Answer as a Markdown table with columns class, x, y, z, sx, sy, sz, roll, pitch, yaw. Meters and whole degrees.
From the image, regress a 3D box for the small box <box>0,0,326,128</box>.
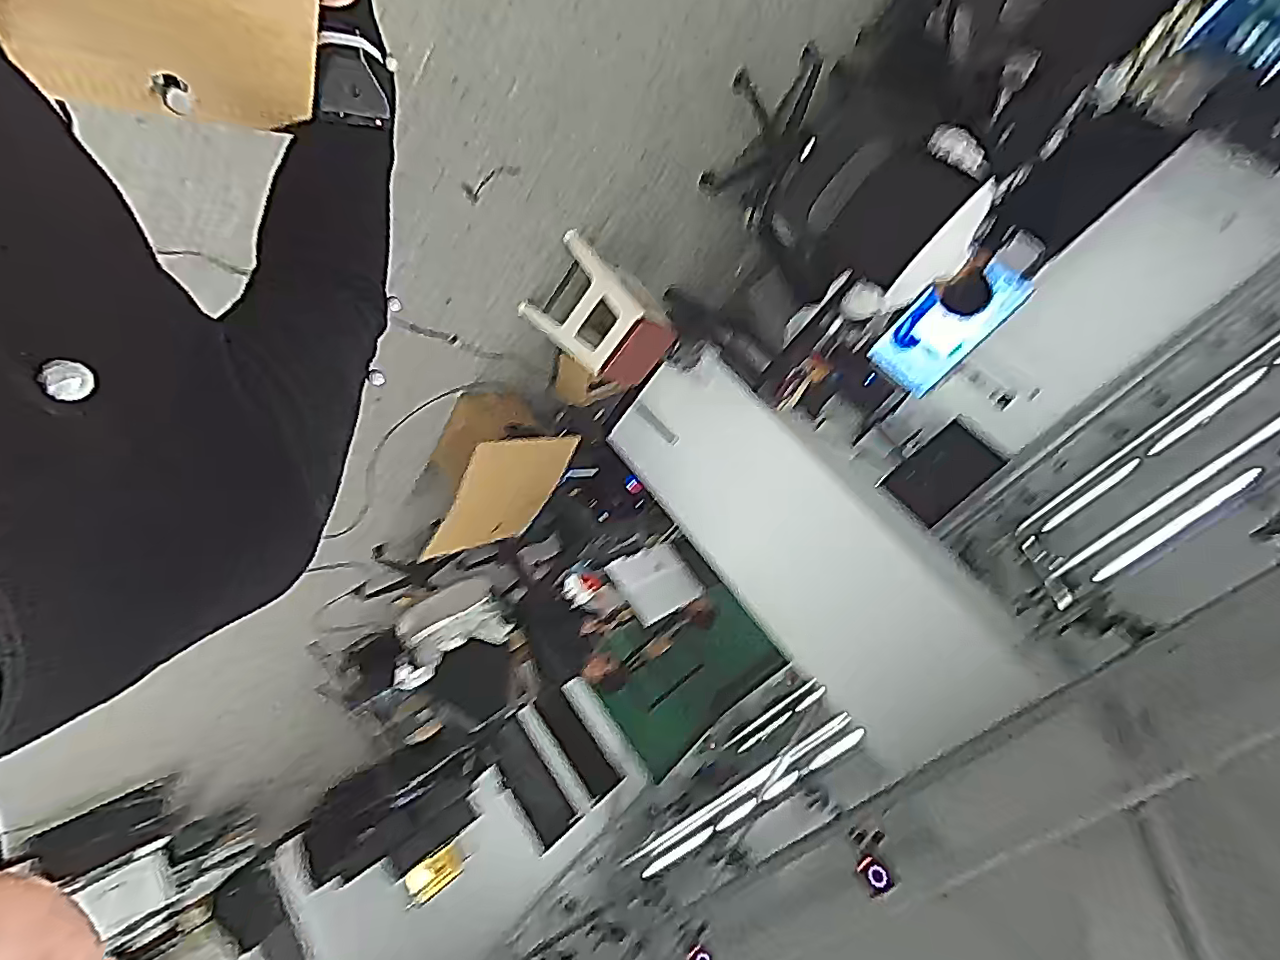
| class | x | y | z | sx | sy | sz | roll | pitch | yaw |
| --- | --- | --- | --- | --- | --- | --- | --- | --- | --- |
| small box | -0.325 | -0.366 | 0.353 | 0.179 | 0.168 | 0.176 | -13 | -174 | -33 |
